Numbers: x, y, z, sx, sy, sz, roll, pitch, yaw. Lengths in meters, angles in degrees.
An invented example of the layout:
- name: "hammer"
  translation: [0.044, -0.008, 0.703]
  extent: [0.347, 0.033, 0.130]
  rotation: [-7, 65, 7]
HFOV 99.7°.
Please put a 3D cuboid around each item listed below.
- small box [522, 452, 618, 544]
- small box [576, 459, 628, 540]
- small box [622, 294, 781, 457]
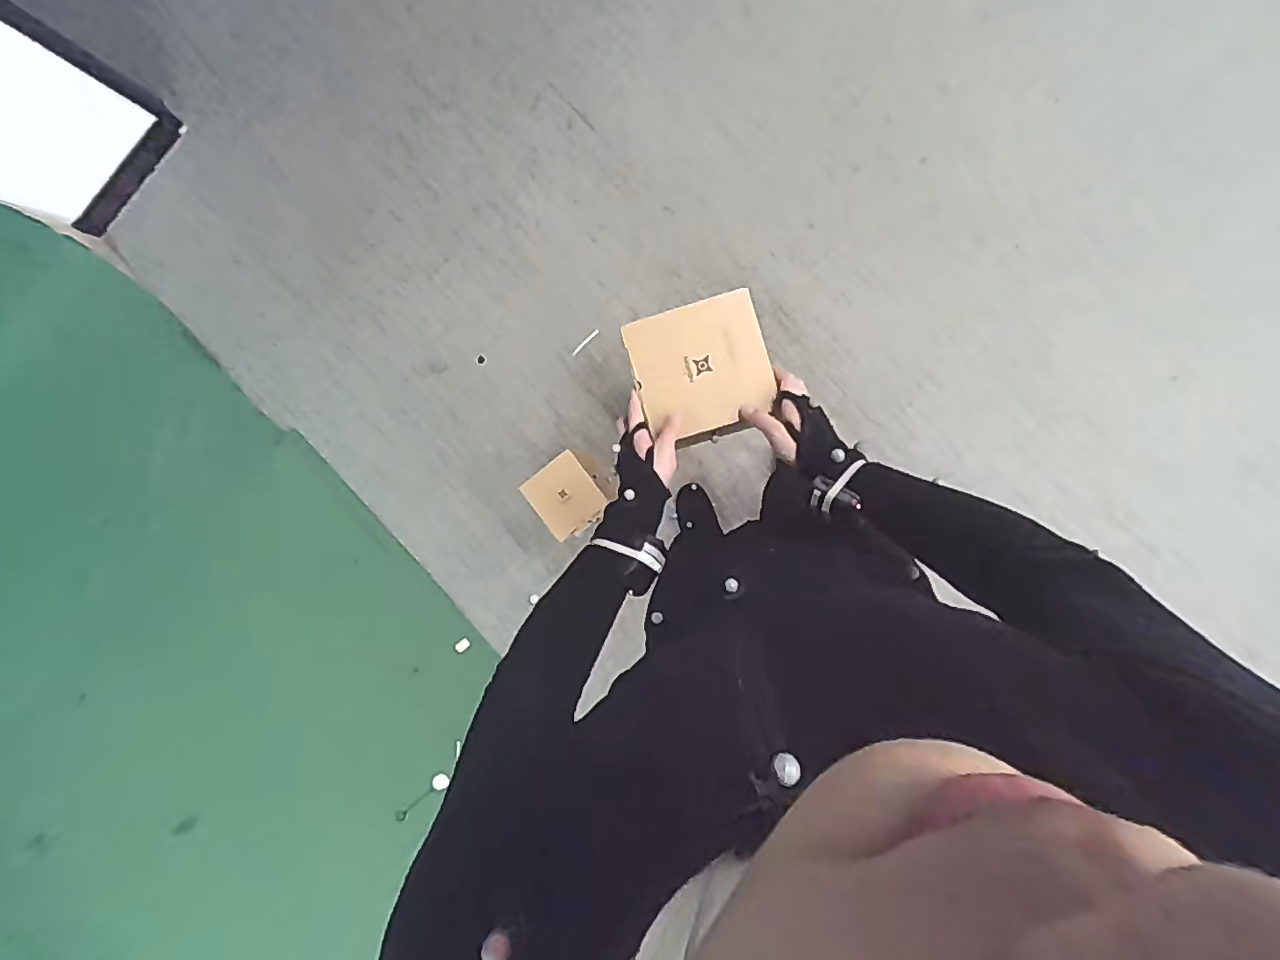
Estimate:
- name: "small box"
  translation: [-0.177, 0.044, 1.424]
  extent: [0.168, 0.176, 0.179]
  rotation: [-38, 89, 5]
- name: "small box"
  translation: [-0.152, 0.051, 1.601]
  extent: [0.168, 0.176, 0.179]
  rotation: [-38, 87, 5]
- name: "small box"
  translation: [0.086, -0.136, 0.777]
  extent: [0.179, 0.176, 0.168]
  rotation: [-16, 87, 4]
